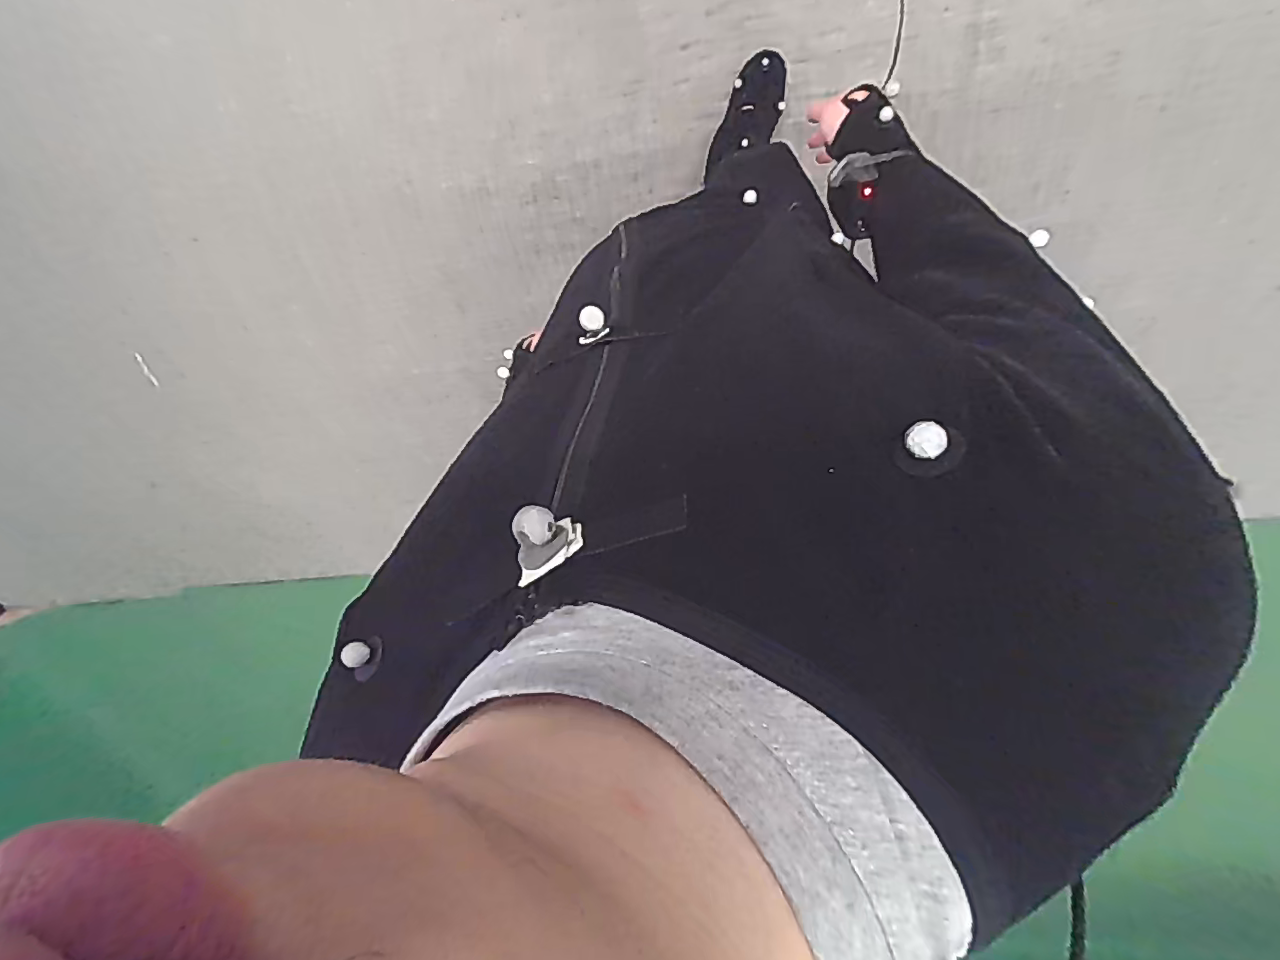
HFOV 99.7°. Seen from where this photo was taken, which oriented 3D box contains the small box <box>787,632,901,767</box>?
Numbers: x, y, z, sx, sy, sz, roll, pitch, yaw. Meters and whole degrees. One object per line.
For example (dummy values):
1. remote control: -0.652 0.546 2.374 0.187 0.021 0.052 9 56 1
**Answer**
1. small box: 0.376 0.414 1.022 0.168 0.176 0.179 -8 121 9
